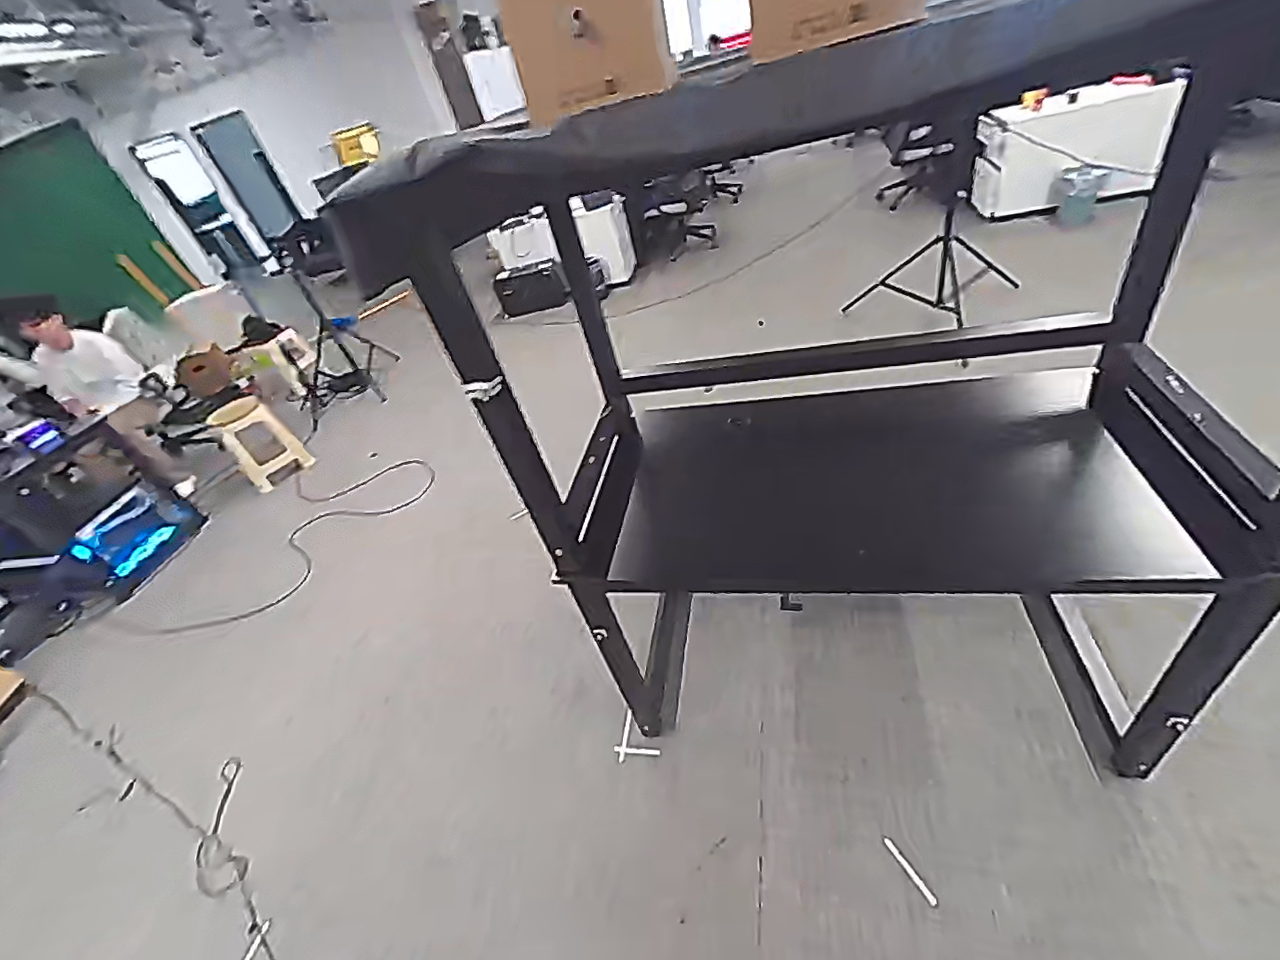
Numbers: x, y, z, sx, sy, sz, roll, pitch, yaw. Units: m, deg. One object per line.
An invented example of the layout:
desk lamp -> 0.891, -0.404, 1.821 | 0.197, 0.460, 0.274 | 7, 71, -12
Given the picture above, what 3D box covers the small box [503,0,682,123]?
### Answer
small box -> -0.048, -0.535, 0.627 | 0.168, 0.176, 0.179 | -5, 38, 13
